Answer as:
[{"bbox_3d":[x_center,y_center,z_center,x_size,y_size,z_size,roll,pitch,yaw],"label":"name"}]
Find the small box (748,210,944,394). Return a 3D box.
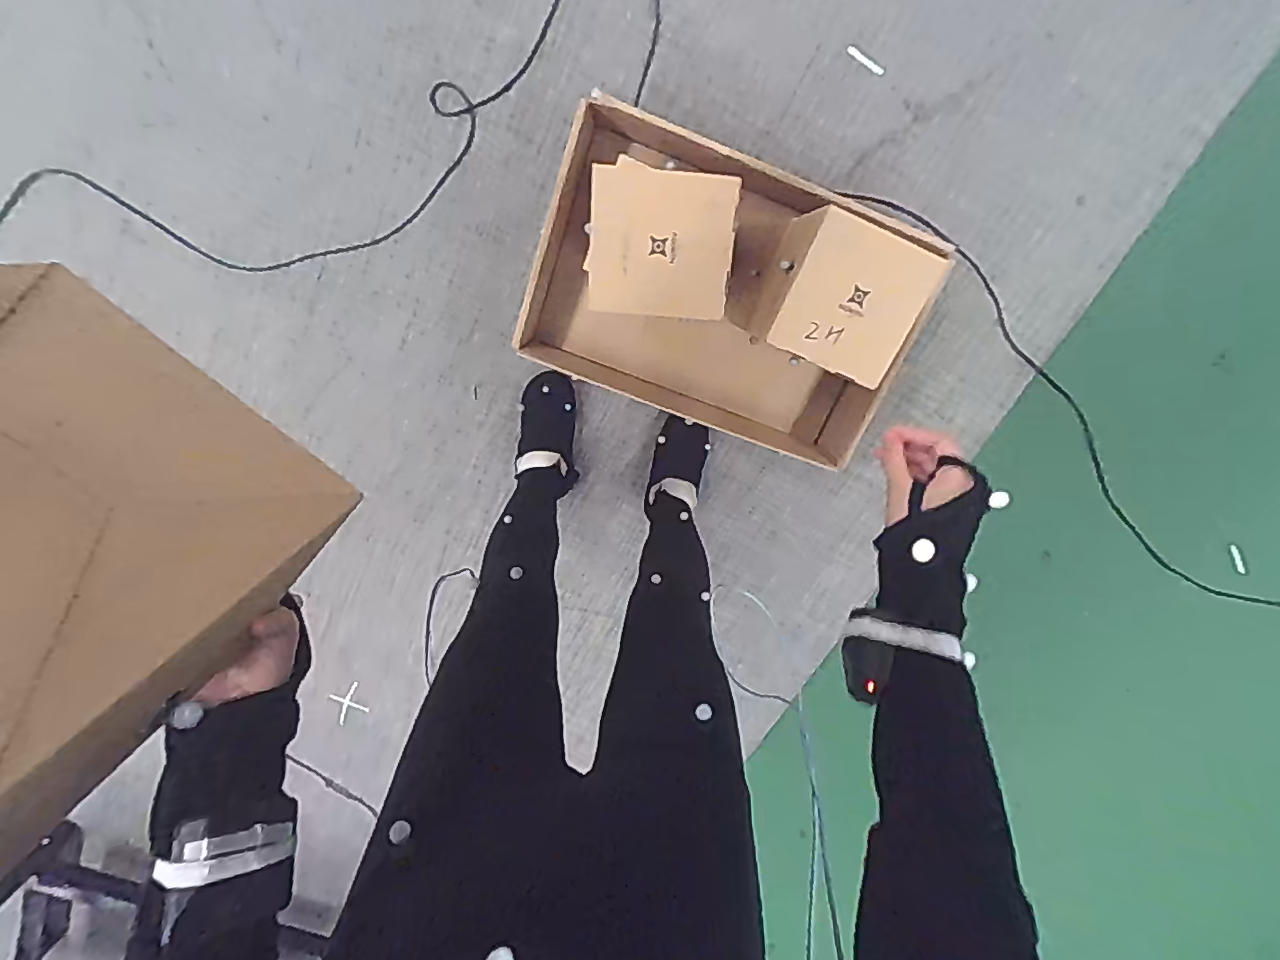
[{"bbox_3d":[0.266,-0.246,0.751,0.168,0.176,0.179,22,110,-7],"label":"small box"}]

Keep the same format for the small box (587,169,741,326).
[{"bbox_3d":[0.024,-0.309,0.732,0.179,0.176,0.168,4,112,-2],"label":"small box"}]
